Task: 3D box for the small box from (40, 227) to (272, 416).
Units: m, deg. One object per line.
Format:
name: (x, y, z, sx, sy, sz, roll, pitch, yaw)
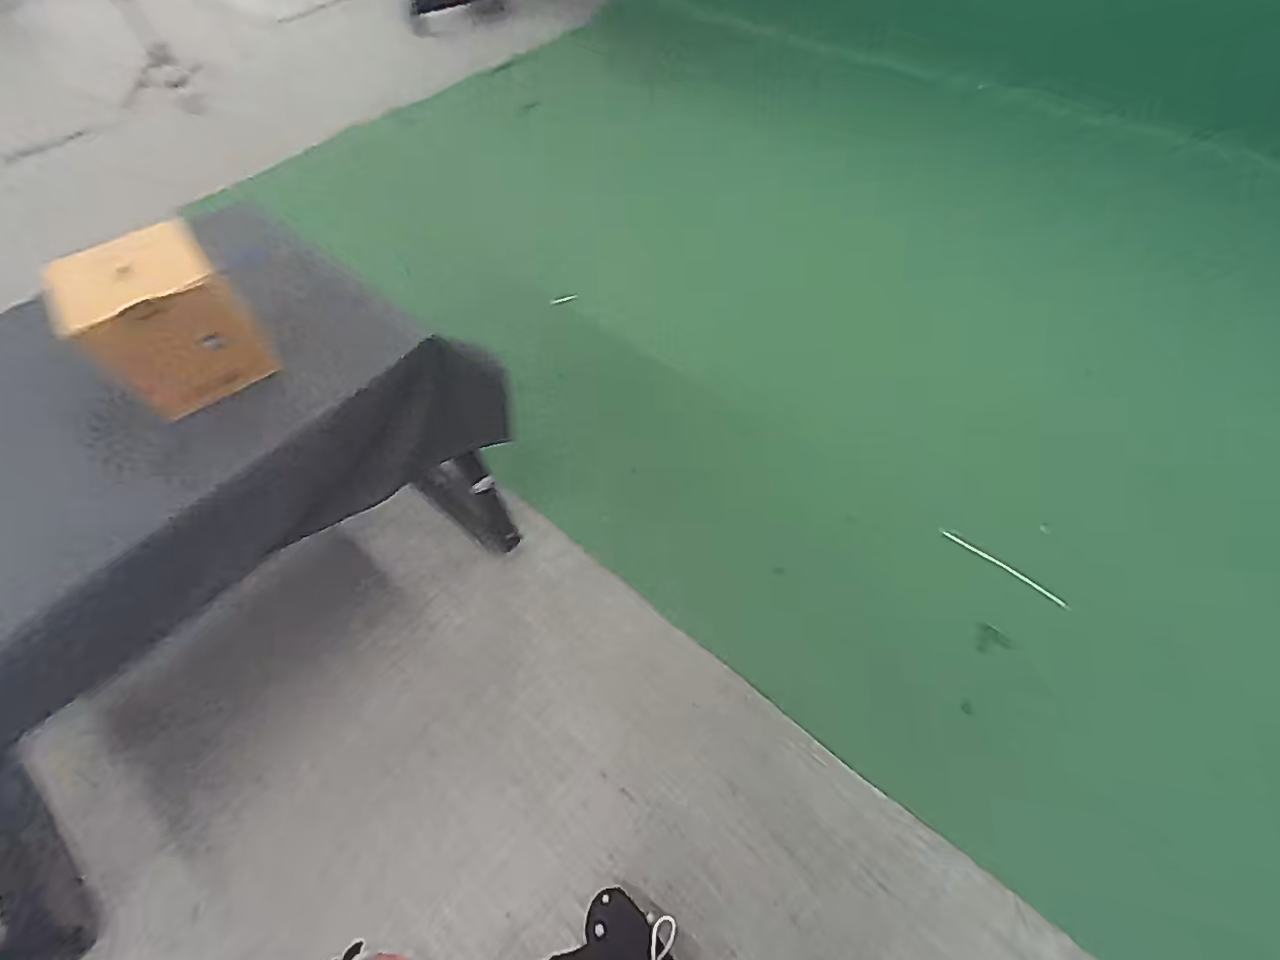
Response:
small box: (-0.667, -0.214, 0.763, 0.168, 0.176, 0.179, -35, 61, -19)
